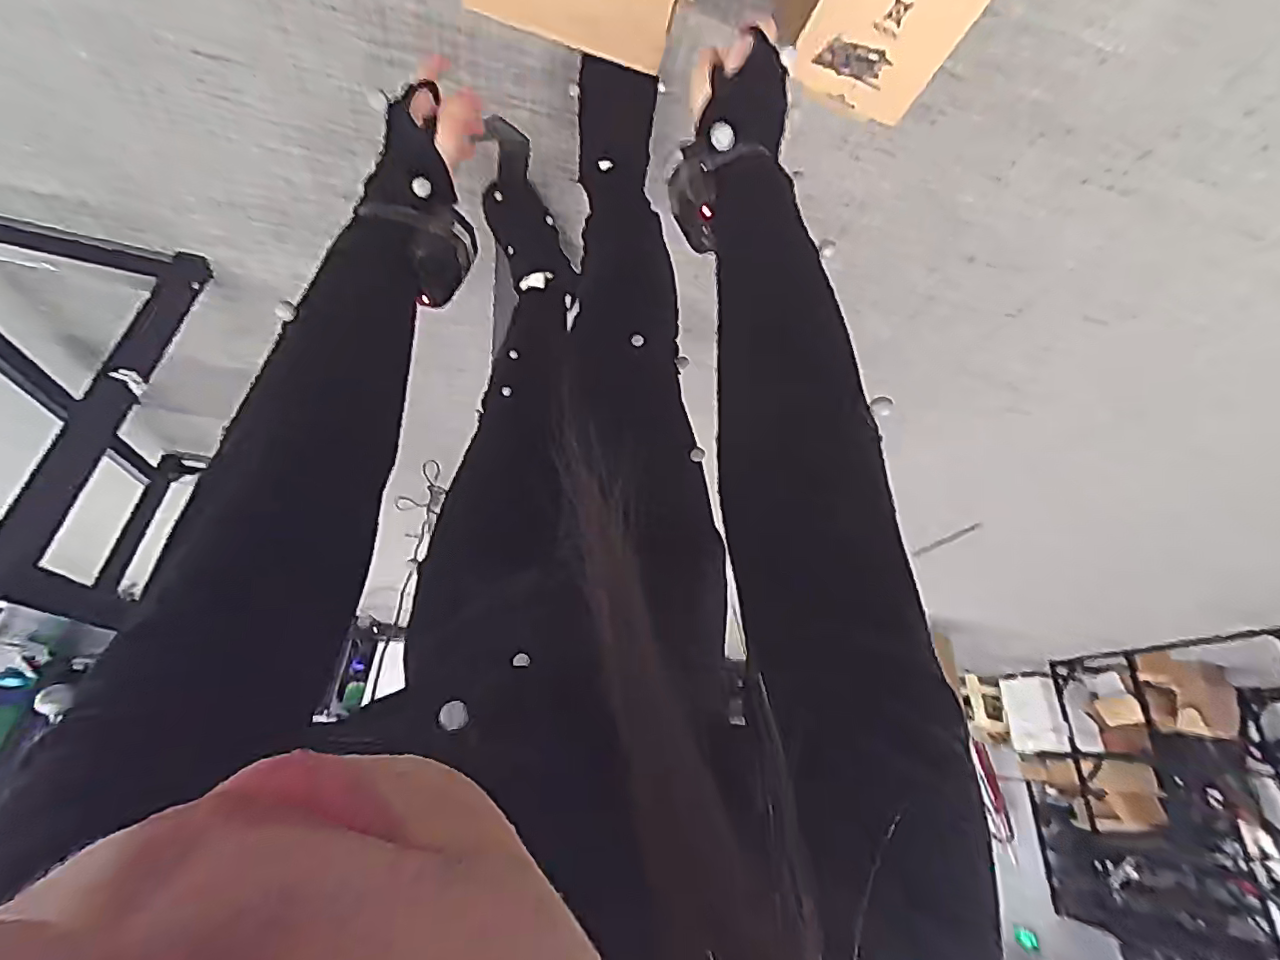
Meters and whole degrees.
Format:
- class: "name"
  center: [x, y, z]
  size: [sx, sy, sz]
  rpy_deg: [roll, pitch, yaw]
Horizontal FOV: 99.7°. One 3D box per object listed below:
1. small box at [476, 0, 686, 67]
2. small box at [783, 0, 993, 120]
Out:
- class: "small box"
  center: [-0.033, -0.491, 0.433]
  size: [0.179, 0.176, 0.168]
  rpy_deg: [11, 152, -12]
- class: "small box"
  center: [0.277, -0.566, 0.608]
  size: [0.168, 0.176, 0.179]
  rpy_deg: [12, 151, -17]
